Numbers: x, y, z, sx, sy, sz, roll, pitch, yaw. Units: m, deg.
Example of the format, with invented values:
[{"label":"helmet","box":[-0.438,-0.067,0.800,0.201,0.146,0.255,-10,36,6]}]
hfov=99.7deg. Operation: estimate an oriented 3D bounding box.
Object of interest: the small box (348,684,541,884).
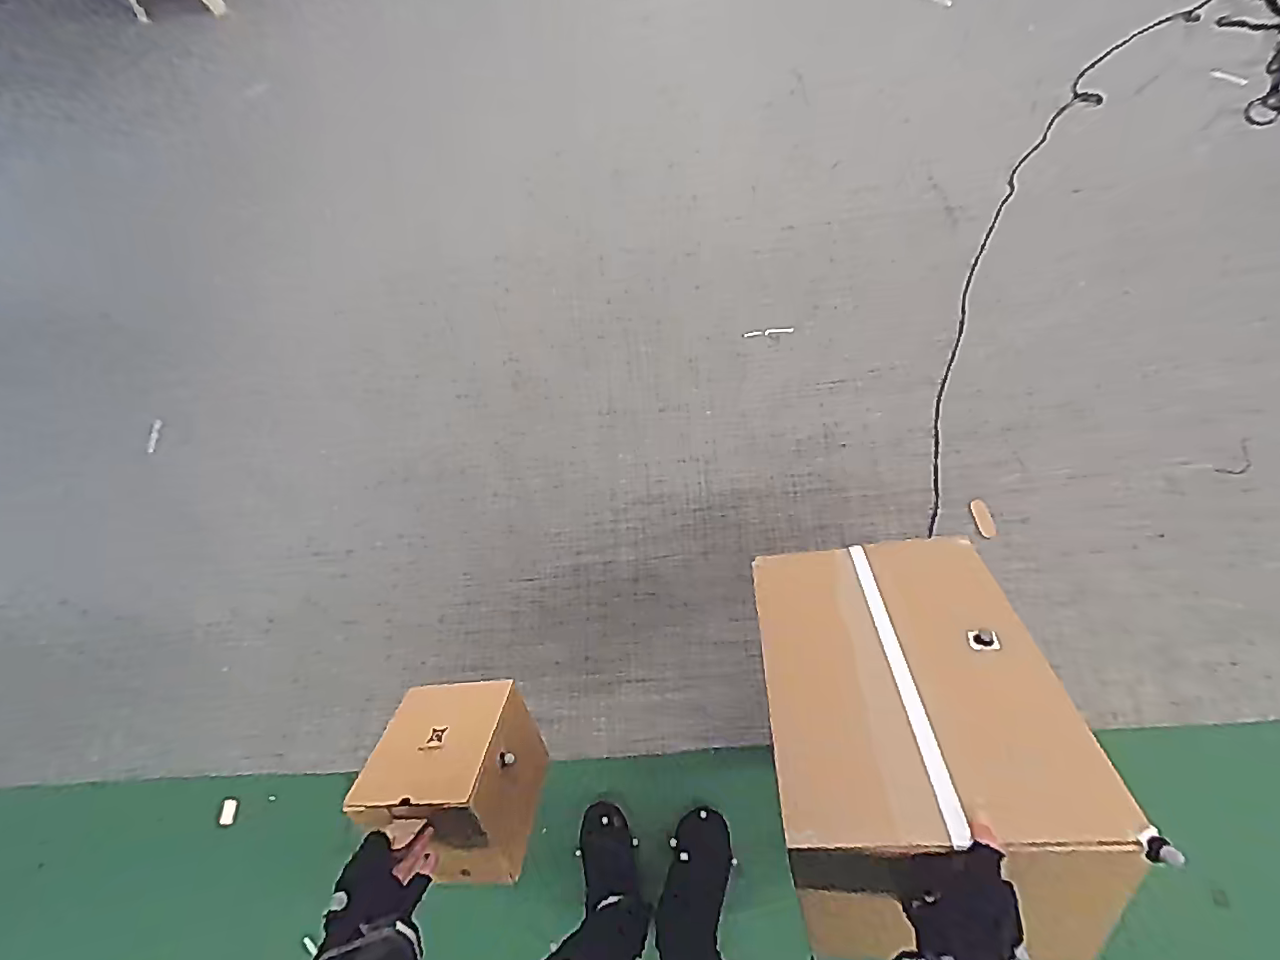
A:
[{"label":"small box","box":[-0.248,0.410,0.739,0.168,0.176,0.179,-9,28,11]}]
